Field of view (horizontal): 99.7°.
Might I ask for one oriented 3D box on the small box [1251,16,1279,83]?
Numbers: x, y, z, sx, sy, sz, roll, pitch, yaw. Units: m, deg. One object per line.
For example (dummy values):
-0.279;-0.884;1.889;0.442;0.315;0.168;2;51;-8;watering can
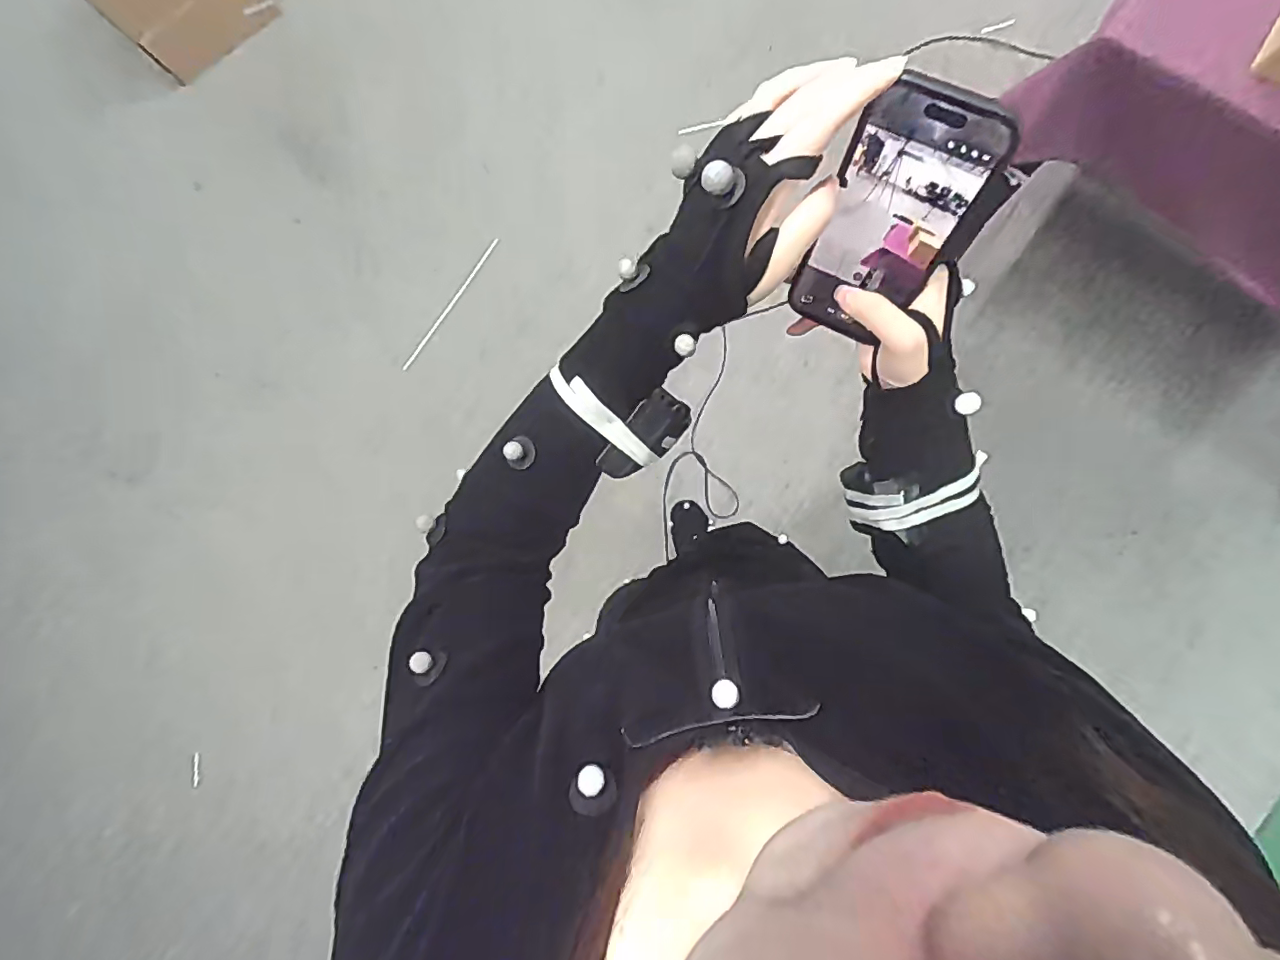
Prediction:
0.969;-0.619;0.687;0.179;0.176;0.168;31;88;6;small box
